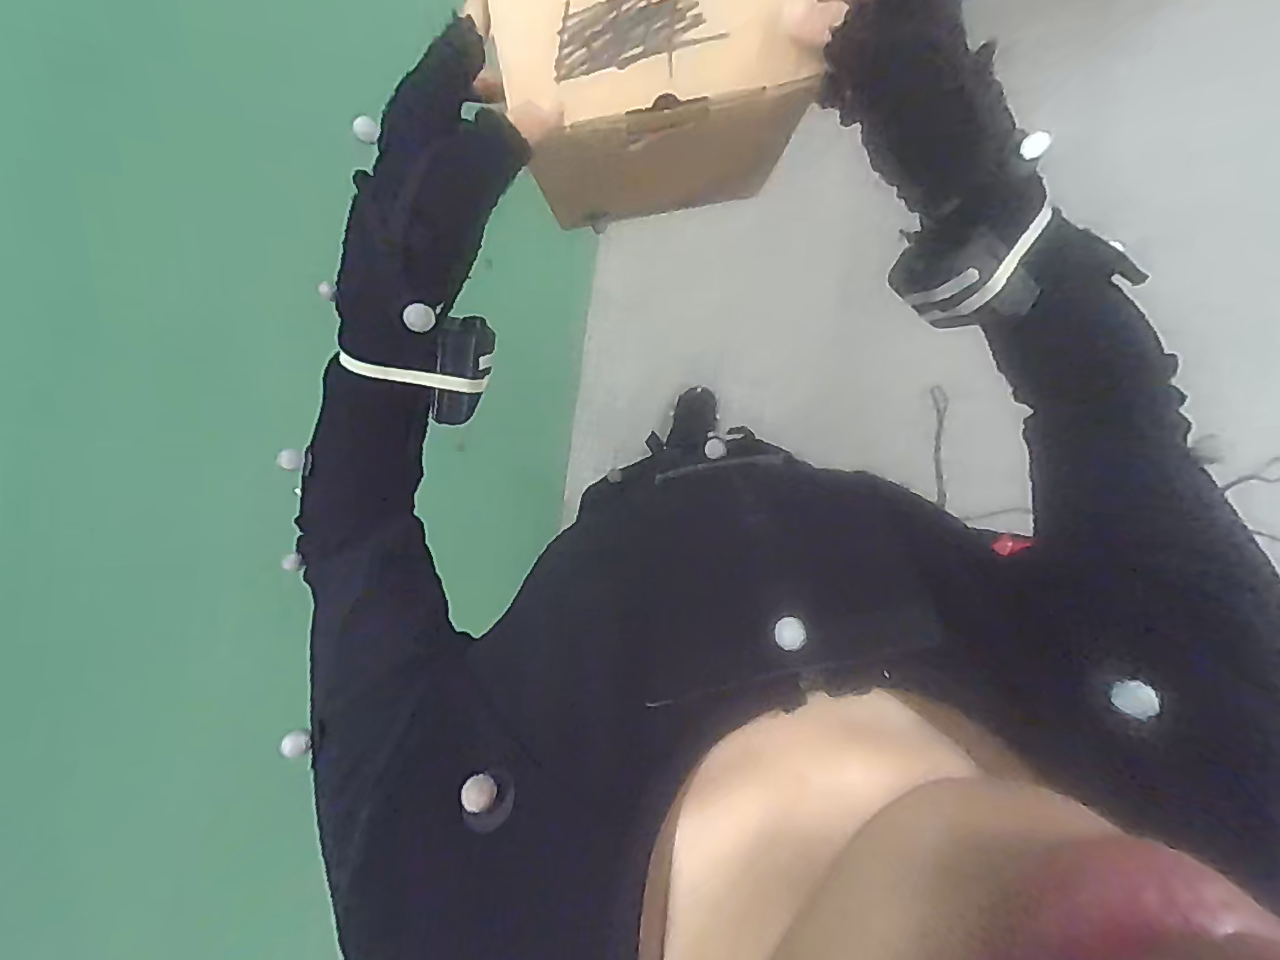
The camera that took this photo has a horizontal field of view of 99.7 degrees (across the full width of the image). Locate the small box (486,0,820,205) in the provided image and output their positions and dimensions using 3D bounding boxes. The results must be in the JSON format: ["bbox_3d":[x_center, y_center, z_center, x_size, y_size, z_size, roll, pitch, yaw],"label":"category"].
[{"bbox_3d":[0.001,-0.294,0.341,0.168,0.176,0.179,-9,98,2],"label":"small box"}]
